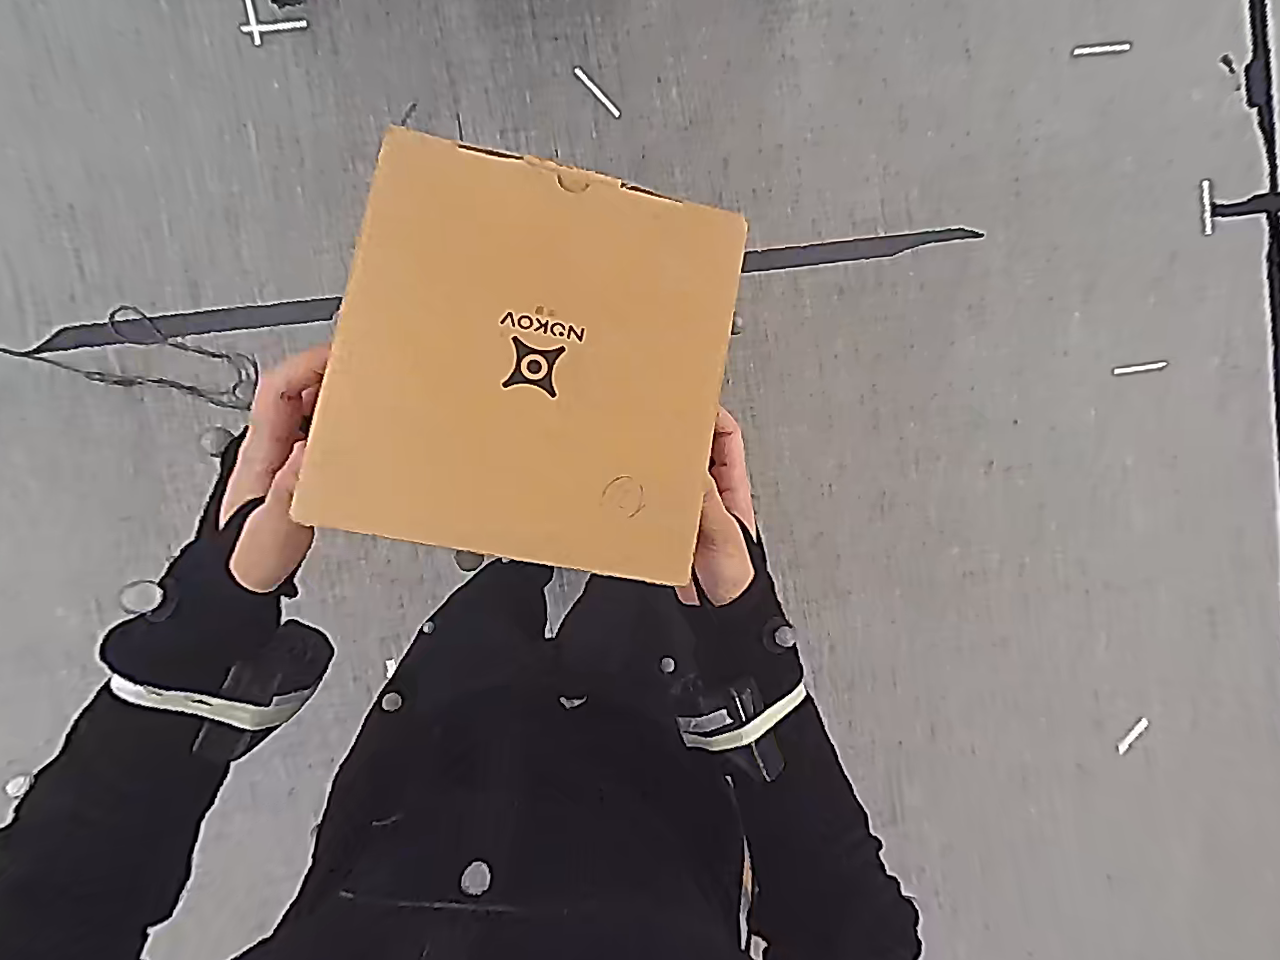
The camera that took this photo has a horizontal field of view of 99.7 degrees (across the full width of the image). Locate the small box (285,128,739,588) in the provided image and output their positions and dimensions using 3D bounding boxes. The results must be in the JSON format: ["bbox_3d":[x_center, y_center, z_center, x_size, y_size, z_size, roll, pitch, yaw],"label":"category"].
[{"bbox_3d":[-0.059,-0.046,0.311,0.168,0.176,0.179,11,83,-7],"label":"small box"}]

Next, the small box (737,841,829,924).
[{"bbox_3d":[0.370,1.060,1.358,0.179,0.176,0.168,-22,96,-5],"label":"small box"}]
